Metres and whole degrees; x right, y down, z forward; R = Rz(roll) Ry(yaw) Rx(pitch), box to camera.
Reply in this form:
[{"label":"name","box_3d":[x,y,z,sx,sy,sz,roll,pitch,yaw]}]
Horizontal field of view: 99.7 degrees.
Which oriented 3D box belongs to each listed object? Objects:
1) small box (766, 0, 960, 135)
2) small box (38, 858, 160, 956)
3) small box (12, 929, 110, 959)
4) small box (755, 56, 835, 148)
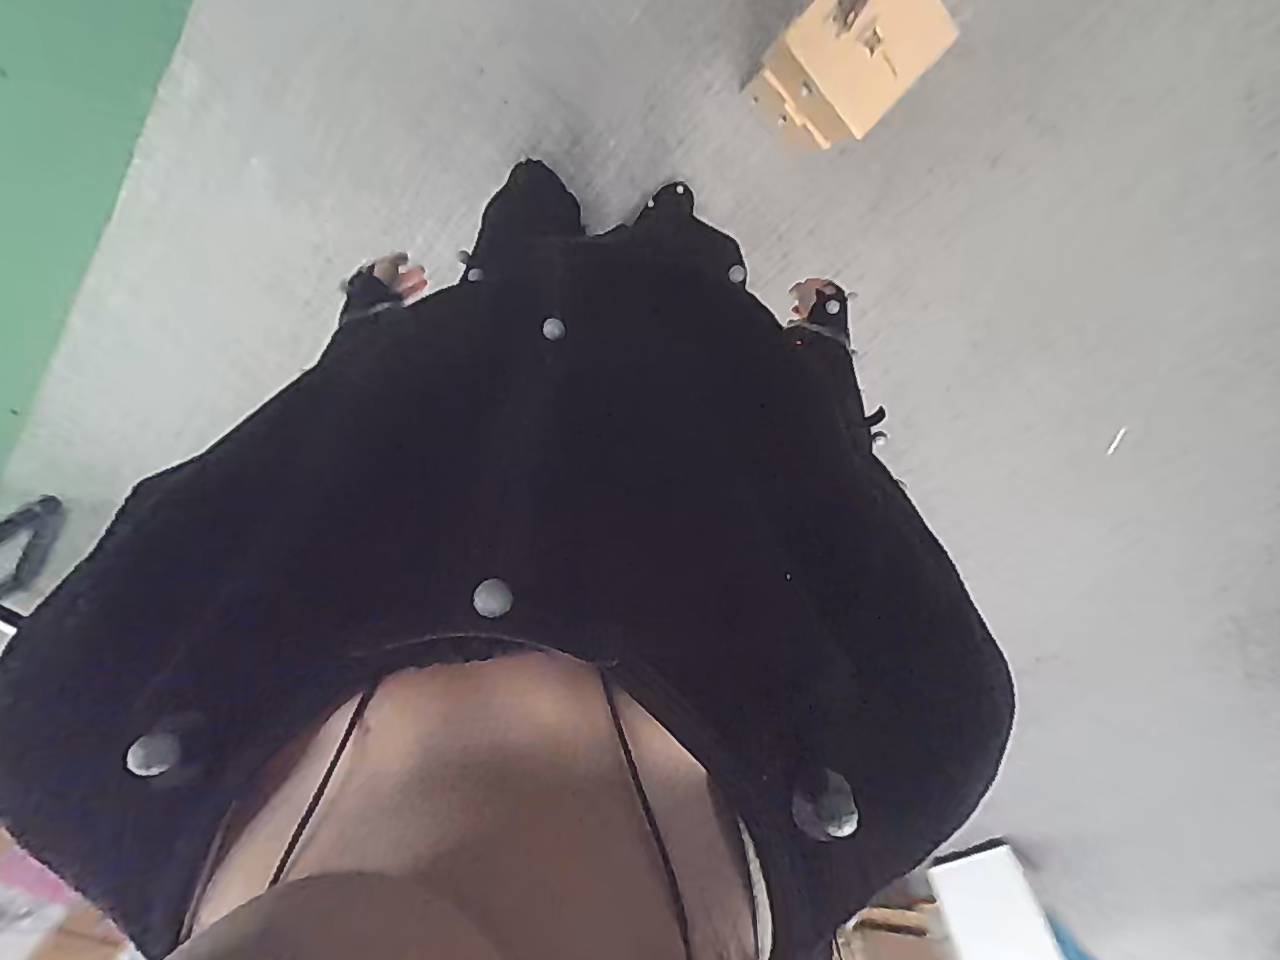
[{"label":"small box","box_3d":[0.307,-0.631,0.783,0.179,0.176,0.168,40,114,-20]},{"label":"small box","box_3d":[-1.486,1.179,1.484,0.179,0.176,0.168,38,114,-18]},{"label":"small box","box_3d":[-1.492,1.256,1.342,0.179,0.176,0.168,36,115,-18]},{"label":"small box","box_3d":[0.314,-0.707,0.930,0.168,0.176,0.179,39,115,-19]}]
